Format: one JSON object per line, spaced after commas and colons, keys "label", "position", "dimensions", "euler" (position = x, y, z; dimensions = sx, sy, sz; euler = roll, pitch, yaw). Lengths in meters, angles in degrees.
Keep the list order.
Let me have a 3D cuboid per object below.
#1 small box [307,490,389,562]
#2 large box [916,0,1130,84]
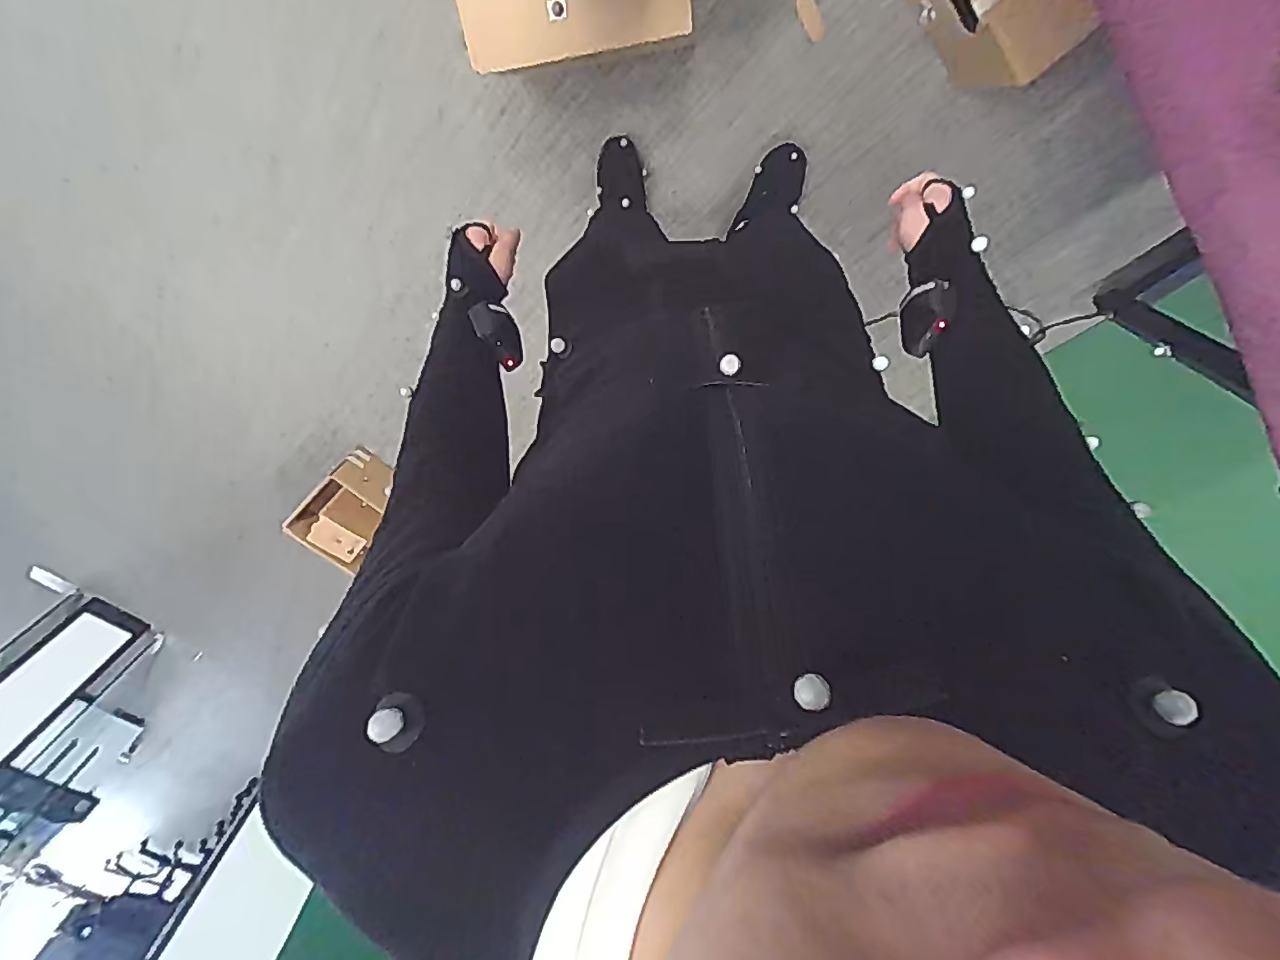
{"label": "small box", "position": [-1.073, 0.161, 1.997], "dimensions": [0.179, 0.176, 0.168], "euler": [39, 122, -20]}
{"label": "large box", "position": [0.707, -0.955, 0.888], "dimensions": [0.408, 0.320, 0.320], "euler": [-37, 114, 28]}
